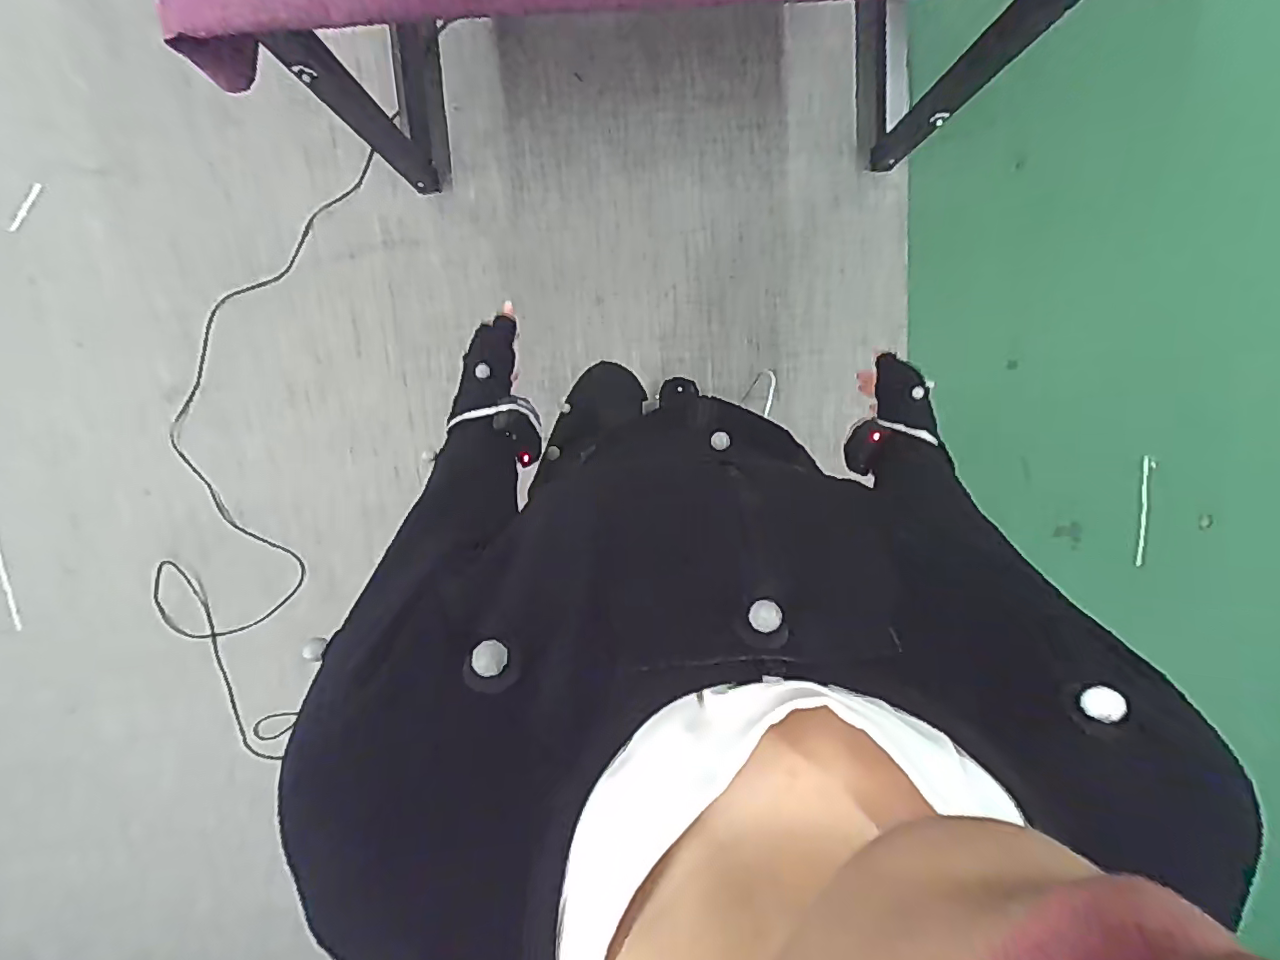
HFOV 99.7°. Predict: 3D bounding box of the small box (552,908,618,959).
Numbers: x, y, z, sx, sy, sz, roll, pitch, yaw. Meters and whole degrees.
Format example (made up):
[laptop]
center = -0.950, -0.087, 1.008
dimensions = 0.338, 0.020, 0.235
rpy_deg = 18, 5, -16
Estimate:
[small box]
center = -0.158, 1.381, 1.557
dimensions = 0.168, 0.176, 0.179
rpy_deg = -11, 100, -1
